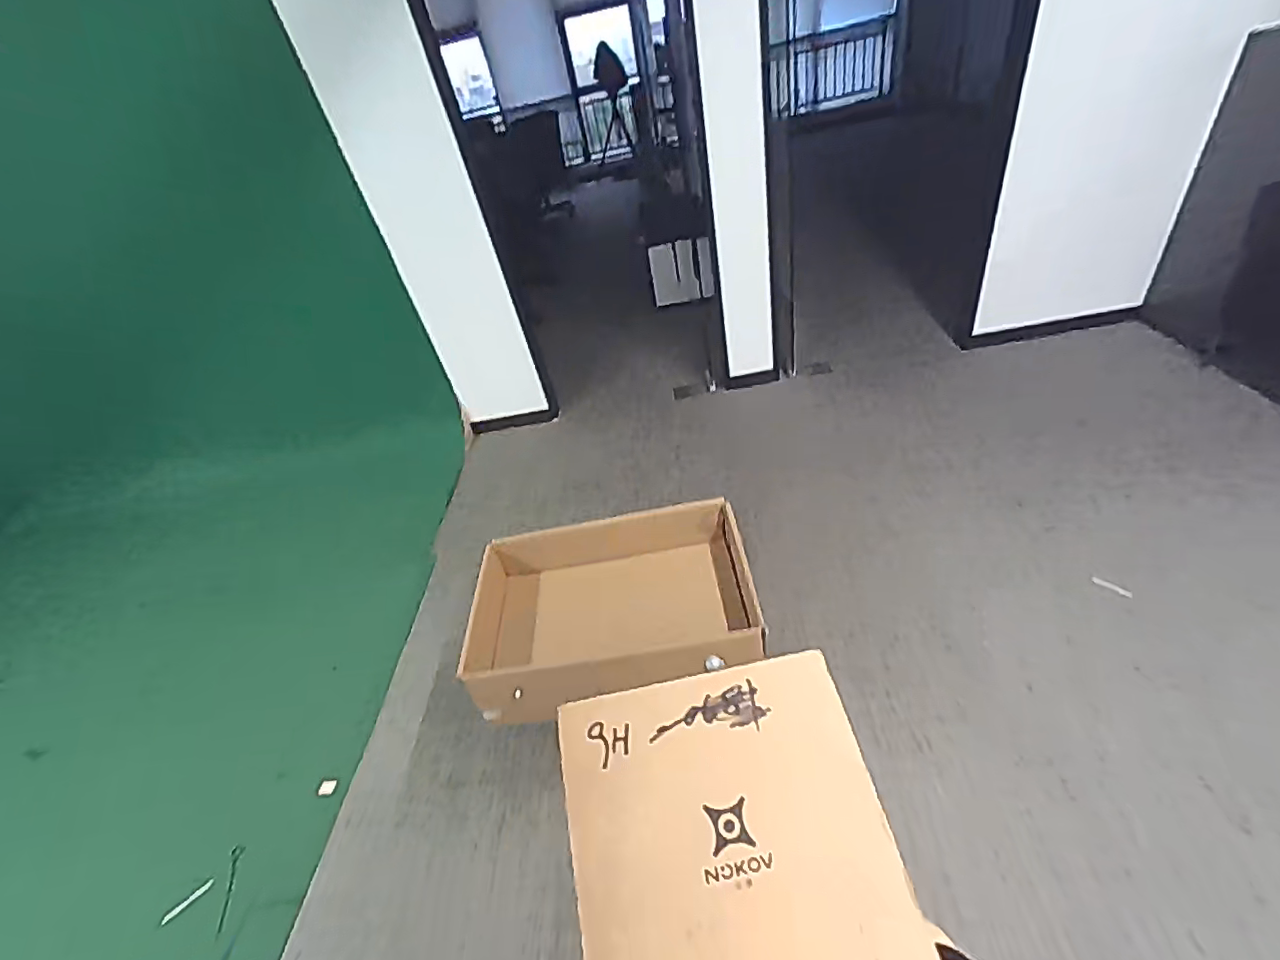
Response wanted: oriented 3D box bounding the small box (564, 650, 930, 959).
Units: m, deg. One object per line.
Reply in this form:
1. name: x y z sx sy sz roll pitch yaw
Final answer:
1. small box: 0.052 0.232 0.355 0.168 0.176 0.179 -10 58 -4
